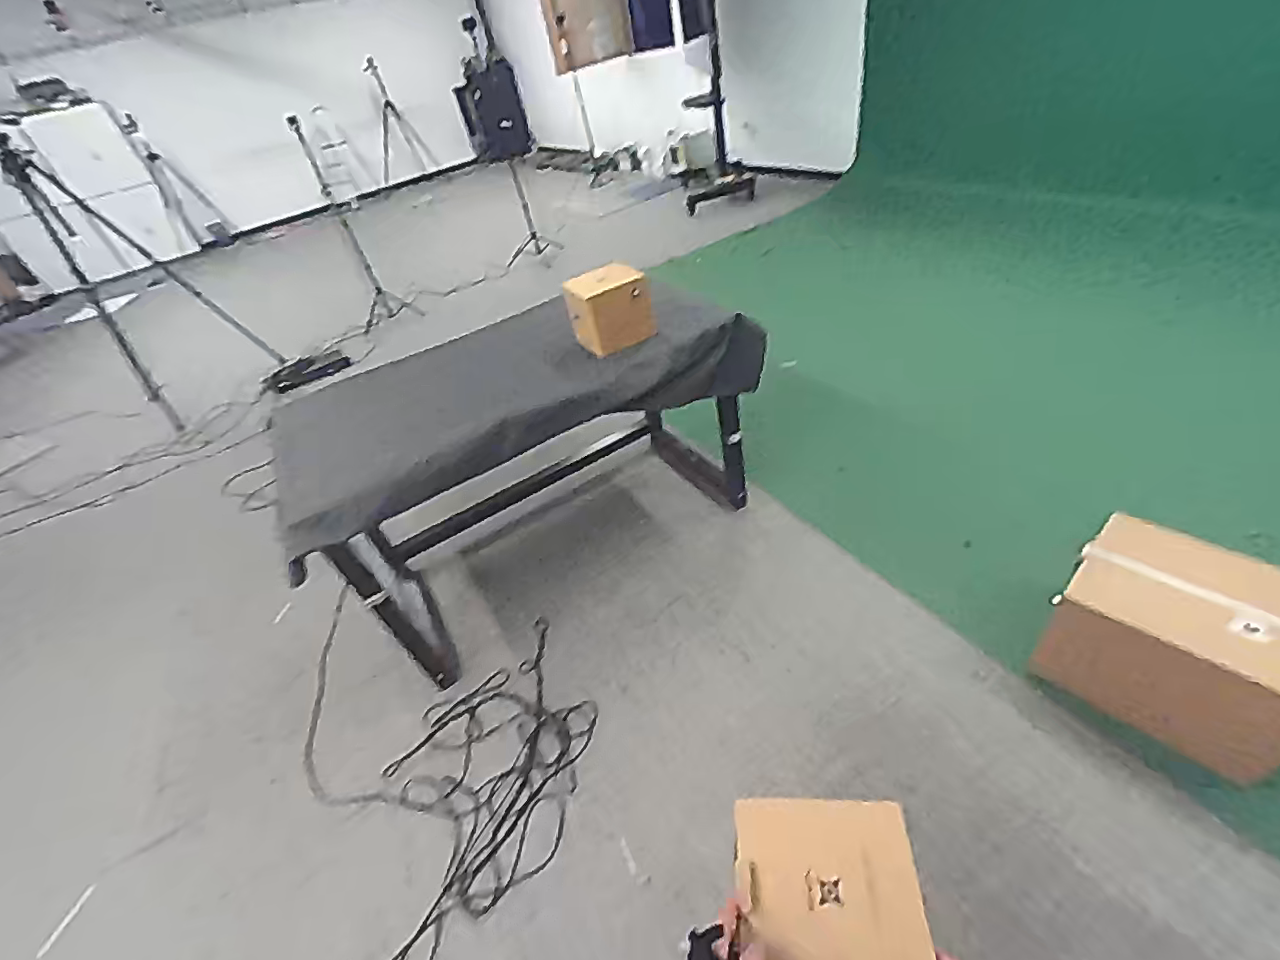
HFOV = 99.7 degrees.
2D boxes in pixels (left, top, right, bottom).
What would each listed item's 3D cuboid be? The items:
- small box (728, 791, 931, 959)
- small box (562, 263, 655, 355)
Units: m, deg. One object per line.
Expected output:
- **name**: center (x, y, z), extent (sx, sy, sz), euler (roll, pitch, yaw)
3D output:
- **small box**: center (0.194, 0.455, 0.580), extent (0.179, 0.176, 0.168), euler (-6, 42, 12)
- **small box**: center (-0.081, -0.458, 1.451), extent (0.179, 0.176, 0.168), euler (-27, 41, -16)
